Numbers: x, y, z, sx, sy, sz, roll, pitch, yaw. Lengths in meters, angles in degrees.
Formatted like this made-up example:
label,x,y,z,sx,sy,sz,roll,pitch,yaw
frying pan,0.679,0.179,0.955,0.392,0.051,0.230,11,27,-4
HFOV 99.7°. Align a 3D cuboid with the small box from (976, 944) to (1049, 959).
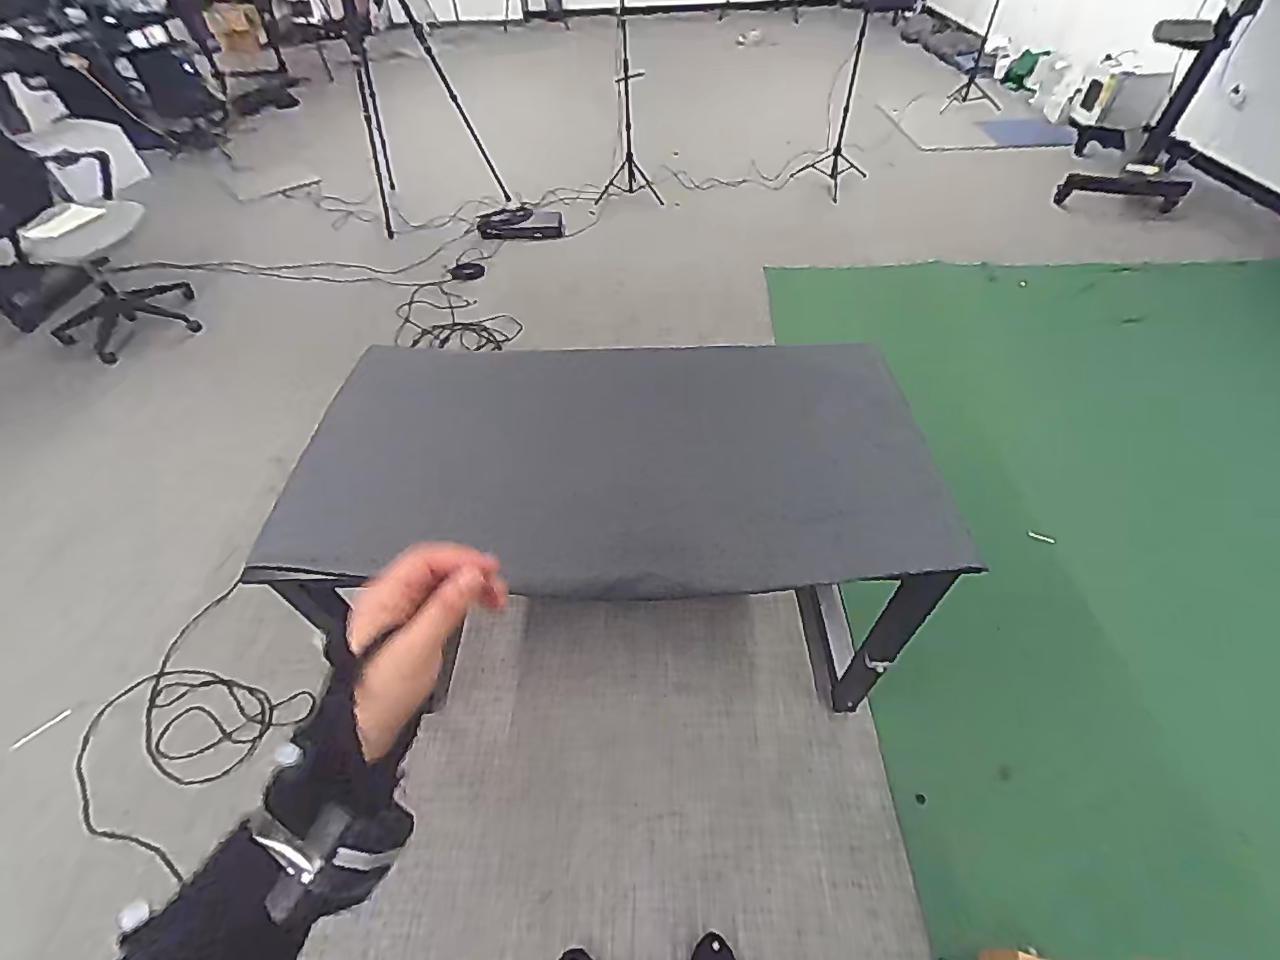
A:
label,x,y,z,sx,sy,sz,roll,pitch,yaw
small box,0.730,0.975,0.975,0.179,0.176,0.168,13,52,12
